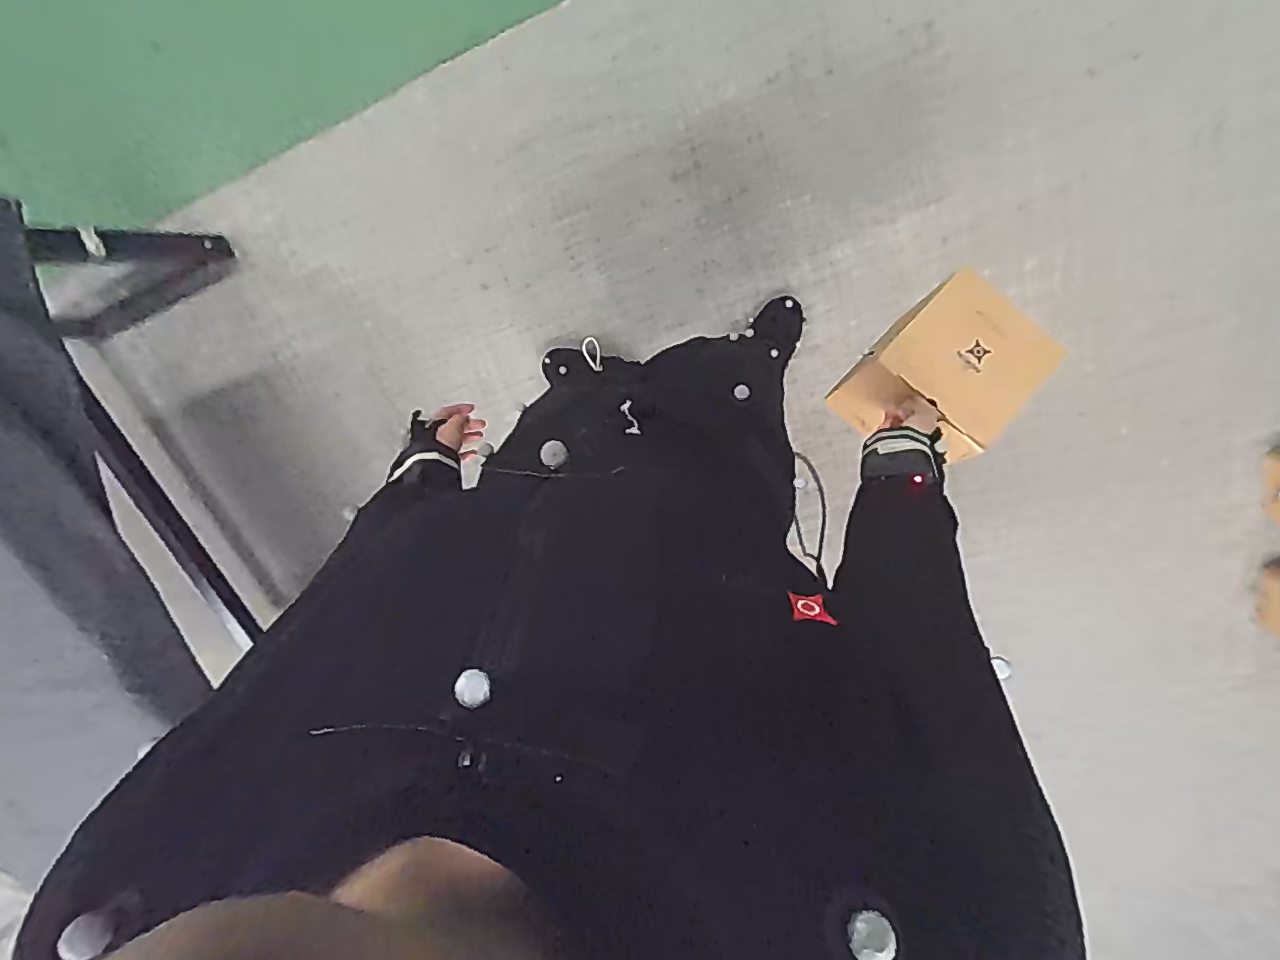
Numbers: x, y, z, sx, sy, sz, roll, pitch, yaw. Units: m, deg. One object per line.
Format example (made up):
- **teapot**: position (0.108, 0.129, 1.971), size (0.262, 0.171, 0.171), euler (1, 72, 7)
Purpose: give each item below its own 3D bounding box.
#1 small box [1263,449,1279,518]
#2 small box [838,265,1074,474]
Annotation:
- **small box**: position (1.478, 0.011, 1.122), size (0.179, 0.176, 0.168), euler (-18, 109, 14)
- **small box**: position (0.386, -0.127, 0.701), size (0.168, 0.176, 0.179), euler (44, 81, 2)
